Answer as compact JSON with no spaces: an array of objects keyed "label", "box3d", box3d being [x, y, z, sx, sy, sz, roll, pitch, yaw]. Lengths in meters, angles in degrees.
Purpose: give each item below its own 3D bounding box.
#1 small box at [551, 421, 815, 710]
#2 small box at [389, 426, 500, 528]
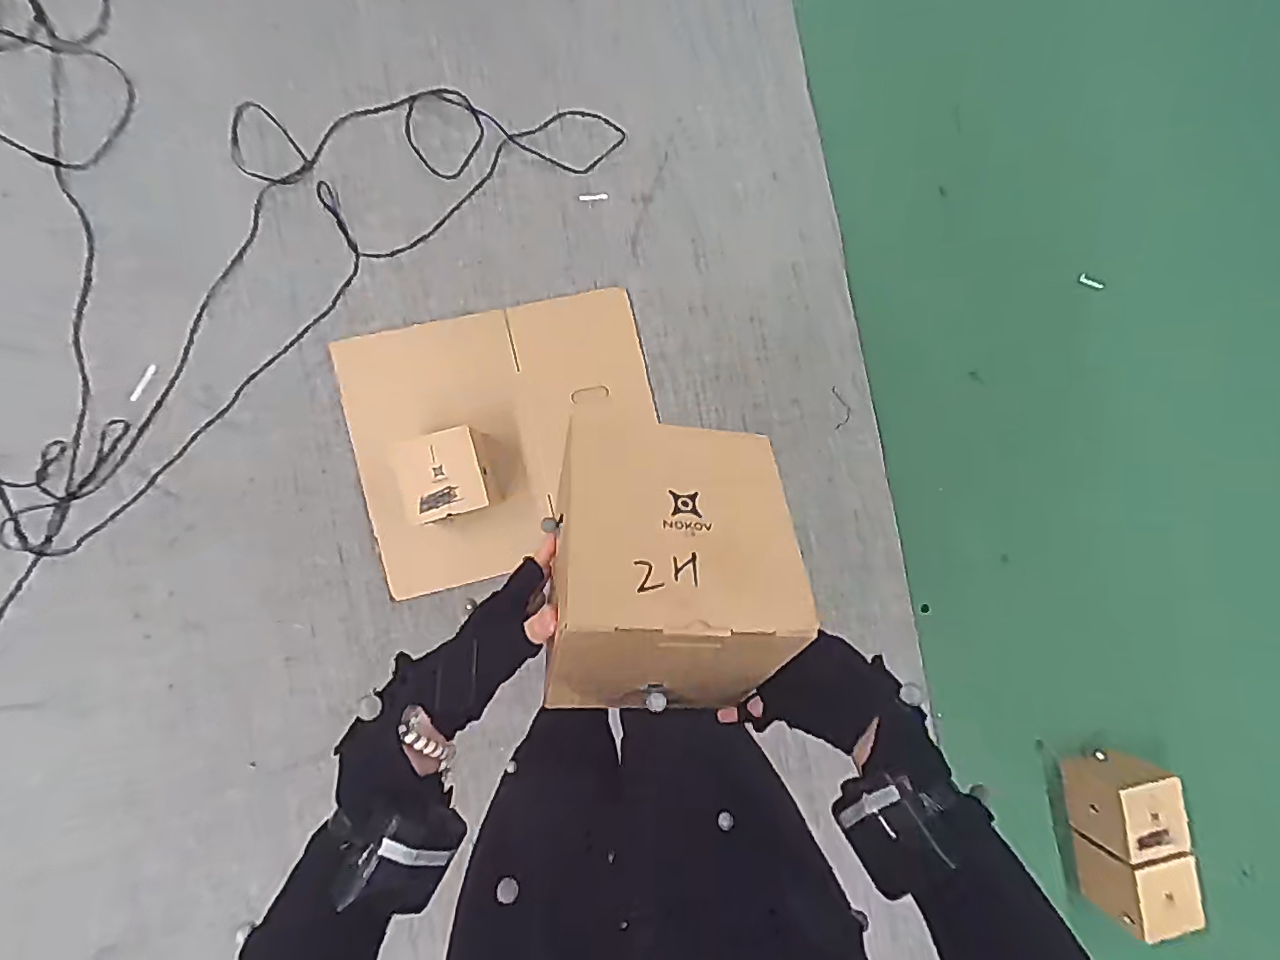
[{"label":"small box","box3d":[0.016,0.077,0.451,0.168,0.176,0.179,5,52,-10]},{"label":"small box","box3d":[-0.411,-0.006,1.166,0.168,0.176,0.179,-15,90,-7]}]
